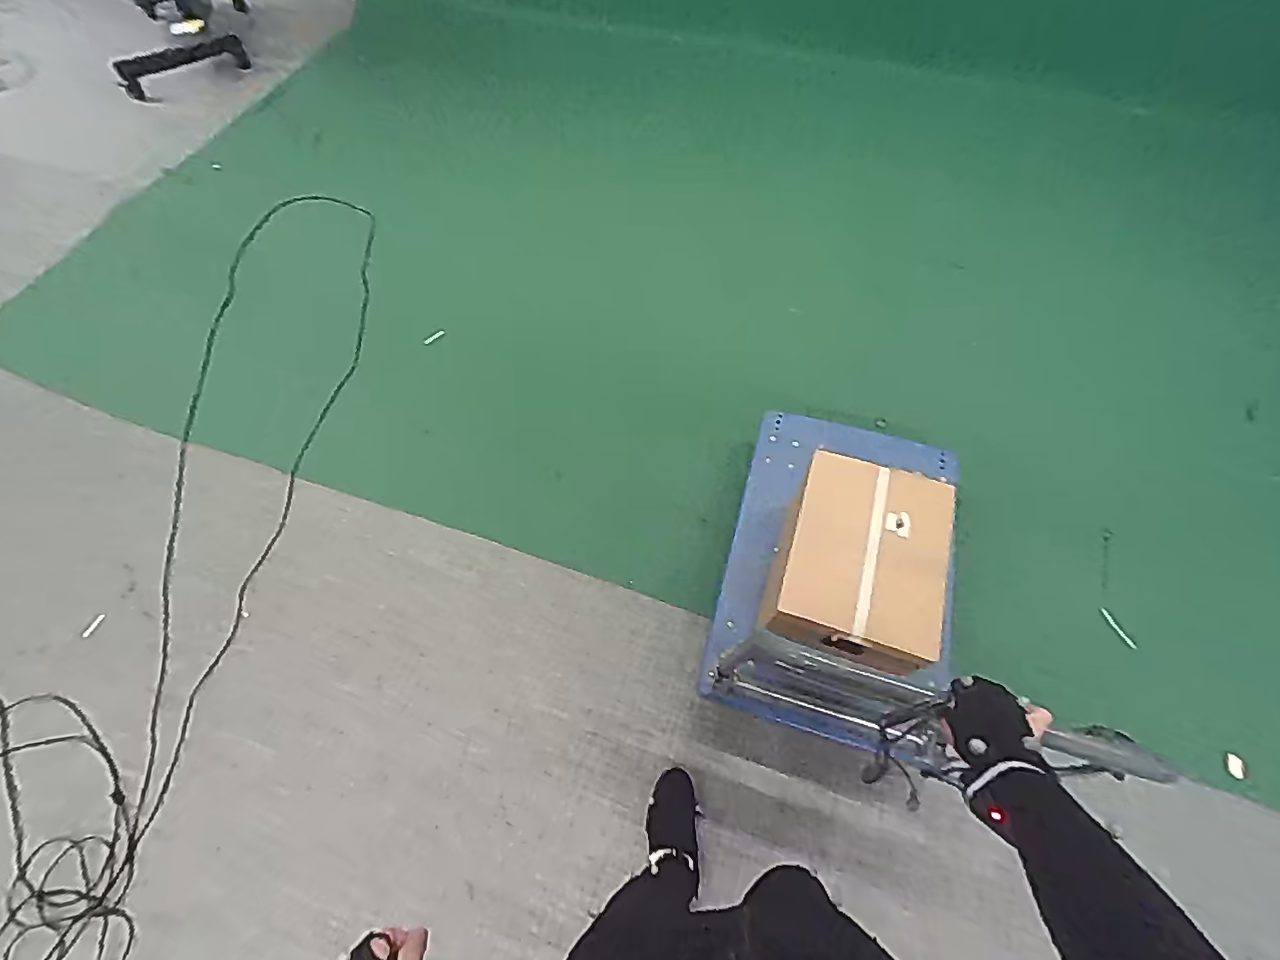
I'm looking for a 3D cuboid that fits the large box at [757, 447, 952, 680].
[{"bbox_3d":[0.486,0.200,1.261,0.320,0.320,0.408,17,63,9],"label":"large box"}]
